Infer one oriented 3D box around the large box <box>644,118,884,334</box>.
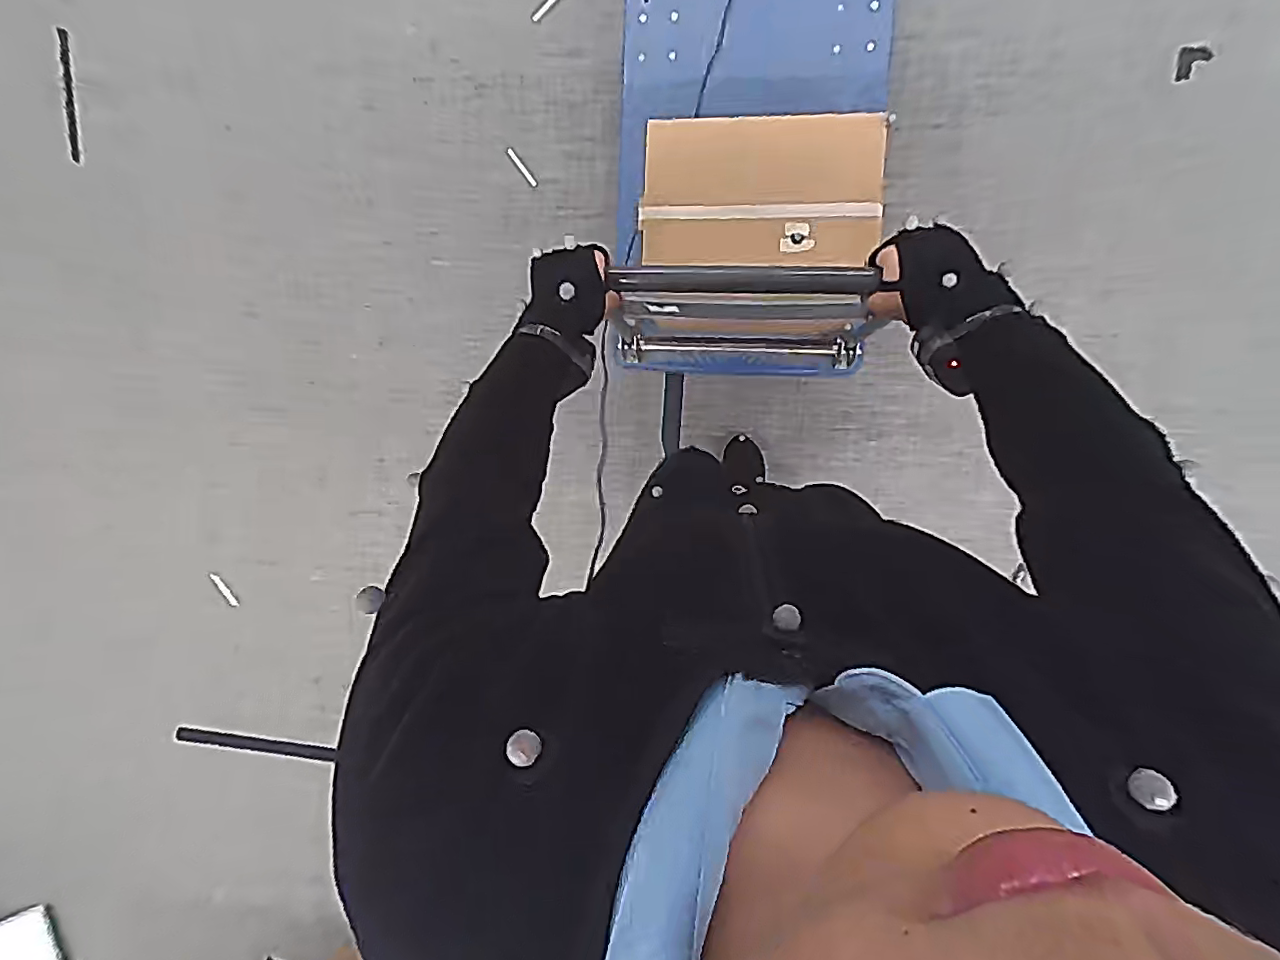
[{"bbox_3d":[0.222,-0.473,1.084,0.408,0.320,0.320,3,97,6],"label":"large box"}]
